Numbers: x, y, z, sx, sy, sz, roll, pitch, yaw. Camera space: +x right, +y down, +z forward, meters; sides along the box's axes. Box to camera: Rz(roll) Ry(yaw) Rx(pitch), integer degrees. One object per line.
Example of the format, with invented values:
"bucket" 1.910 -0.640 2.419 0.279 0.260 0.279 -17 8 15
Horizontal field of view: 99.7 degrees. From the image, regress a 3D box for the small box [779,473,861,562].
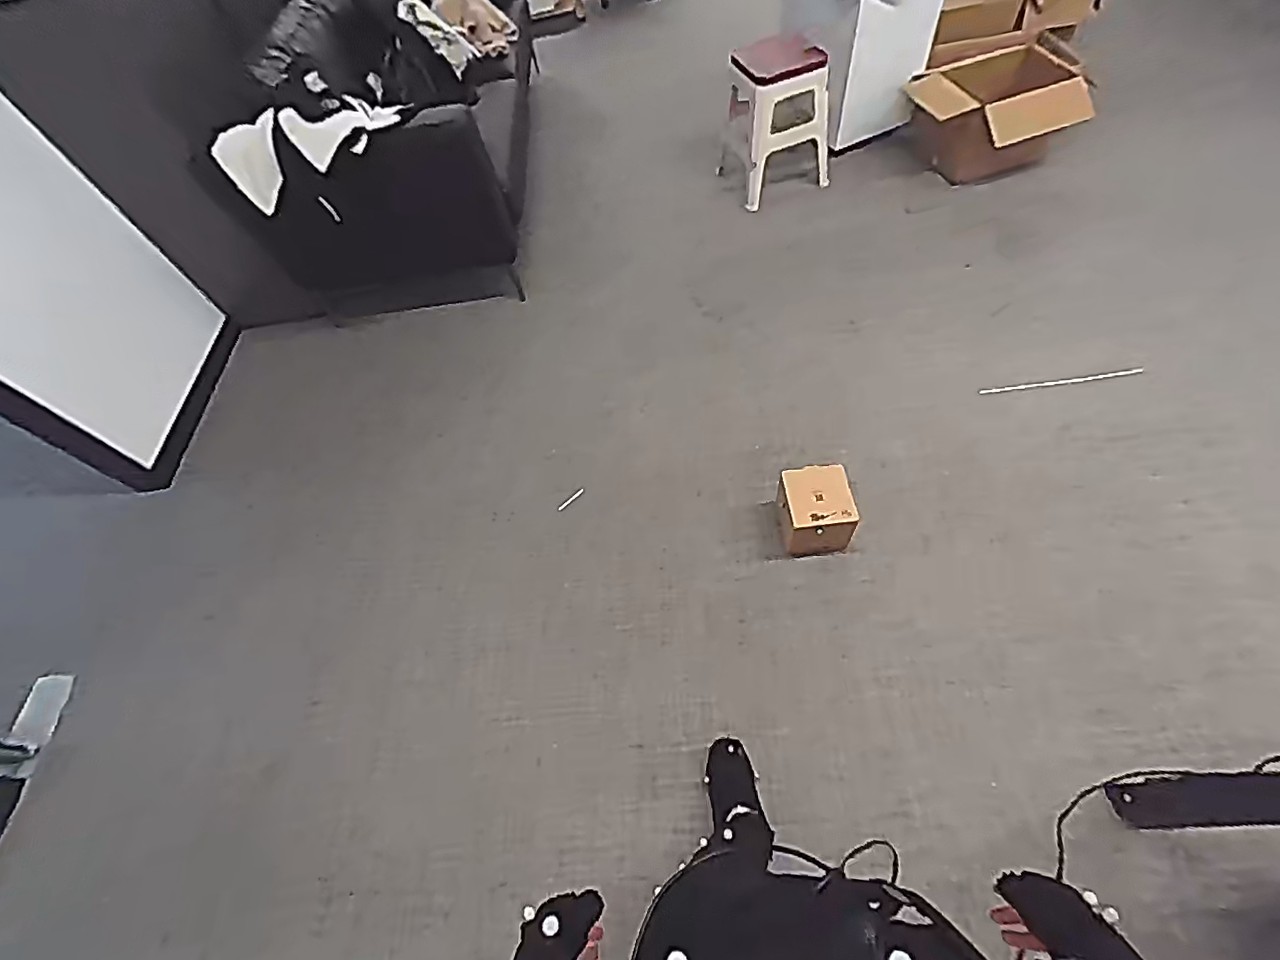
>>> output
"small box" 0.482 0.104 1.475 0.168 0.176 0.179 -7 56 5
